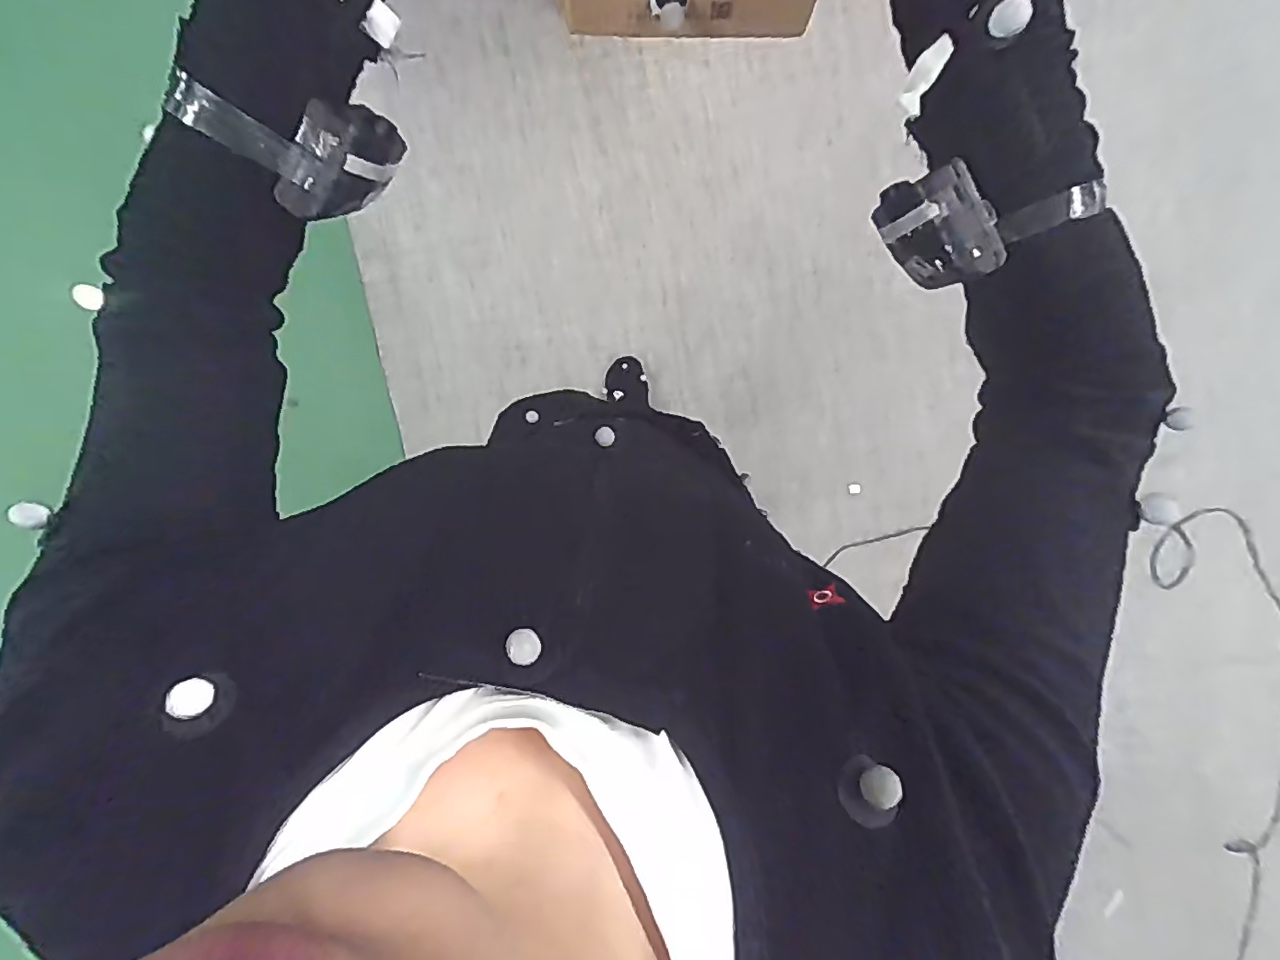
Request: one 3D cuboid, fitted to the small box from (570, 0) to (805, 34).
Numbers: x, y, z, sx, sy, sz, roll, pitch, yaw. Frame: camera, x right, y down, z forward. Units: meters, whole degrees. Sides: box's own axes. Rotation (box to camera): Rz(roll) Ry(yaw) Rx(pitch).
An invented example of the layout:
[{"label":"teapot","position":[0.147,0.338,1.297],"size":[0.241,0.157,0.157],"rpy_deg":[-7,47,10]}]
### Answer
[{"label":"small box","position":[0.030,-0.392,0.287],"size":[0.168,0.176,0.179],"rpy_deg":[2,94,1]}]
